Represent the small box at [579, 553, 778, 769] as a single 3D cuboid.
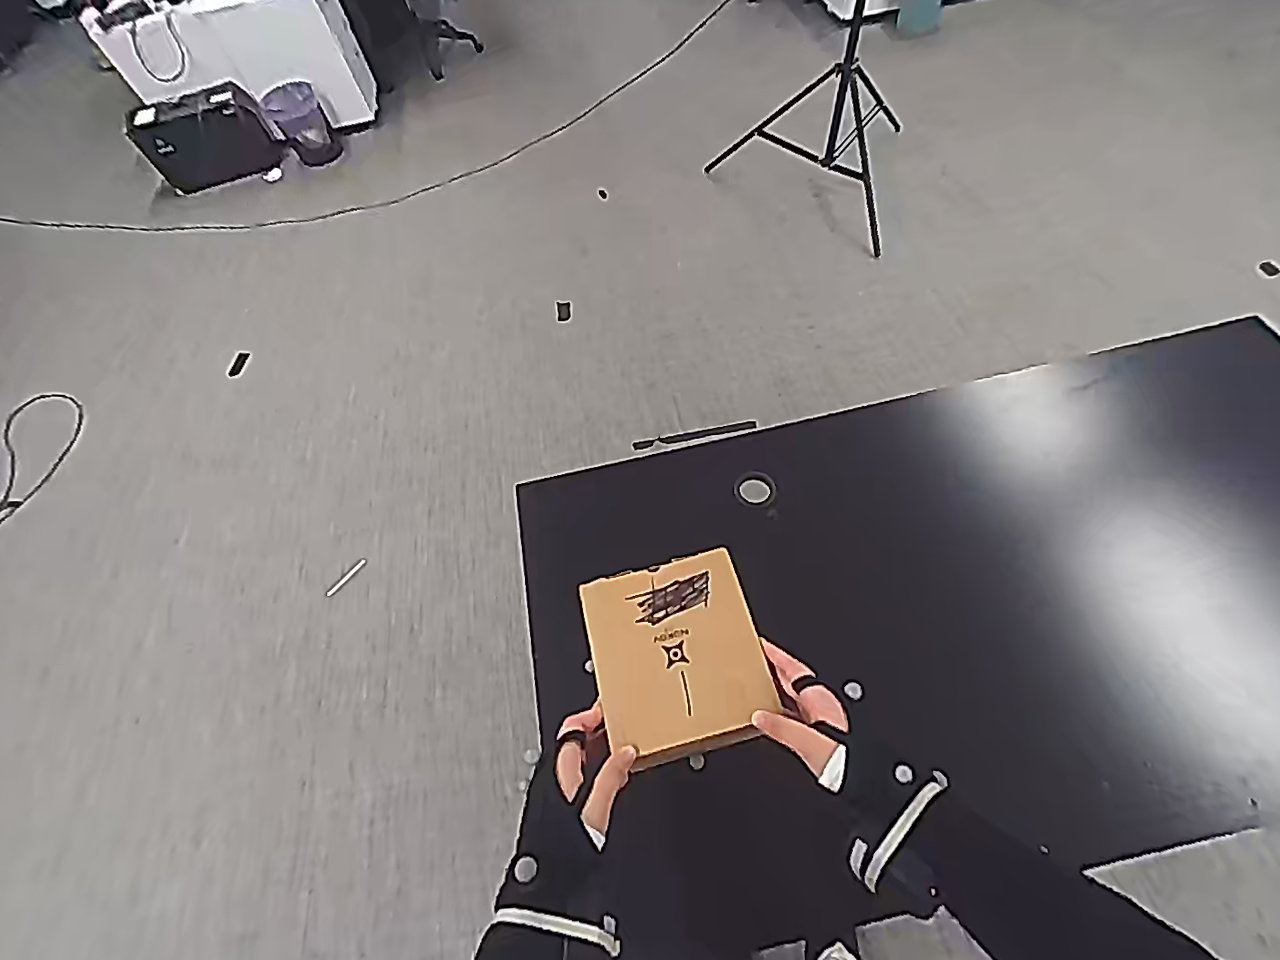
[{"bbox_3d":[0.038,0.209,0.609,0.168,0.176,0.179,-15,60,-2],"label":"small box"}]
